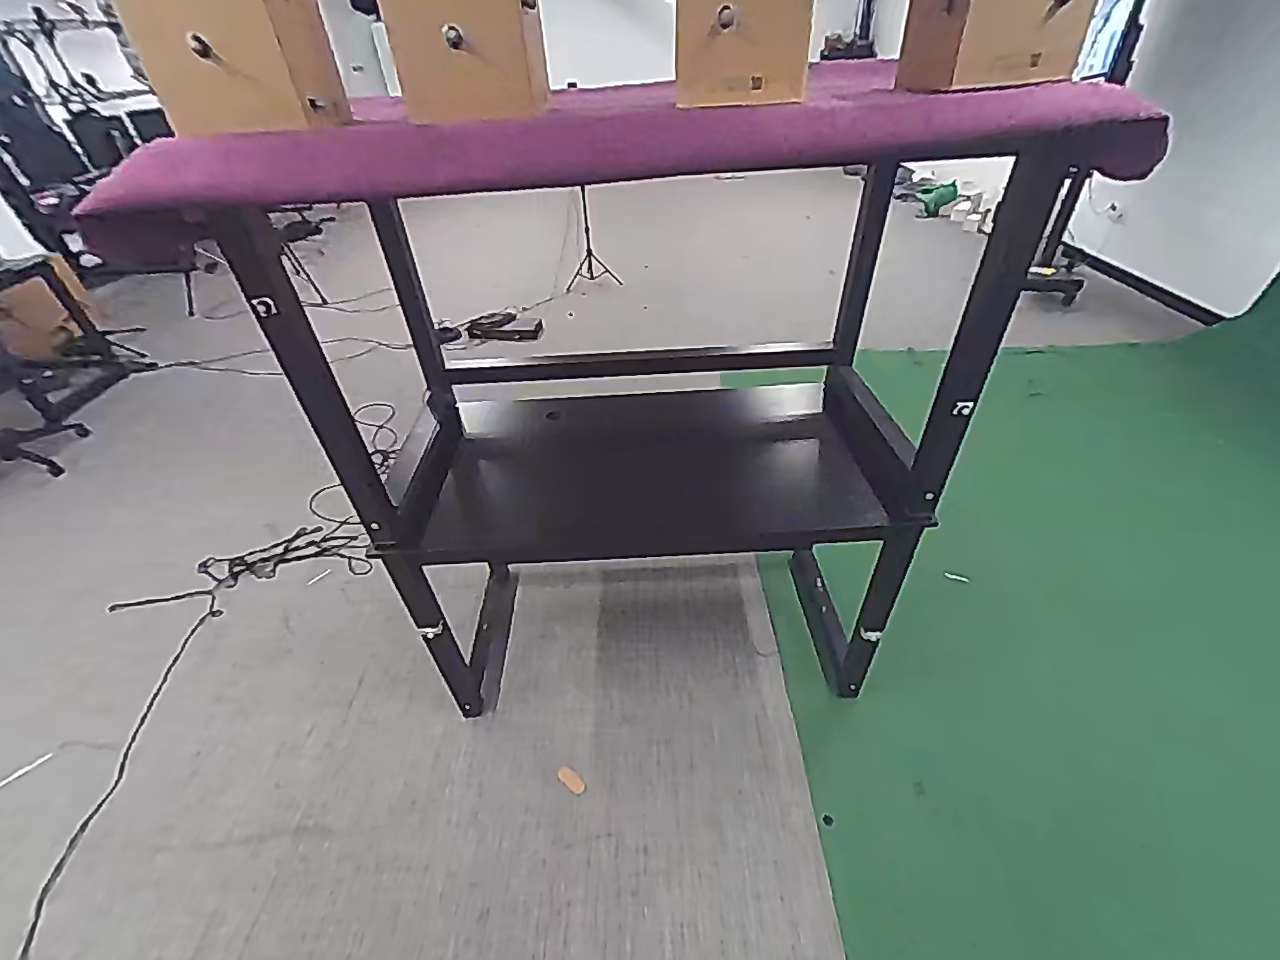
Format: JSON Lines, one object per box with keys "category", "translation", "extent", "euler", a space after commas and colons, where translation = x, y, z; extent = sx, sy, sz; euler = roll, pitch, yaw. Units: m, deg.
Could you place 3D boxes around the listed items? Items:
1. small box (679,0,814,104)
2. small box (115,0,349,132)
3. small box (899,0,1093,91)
{"category": "small box", "translation": [0.137, -0.611, 0.725], "extent": [0.168, 0.176, 0.179], "euler": [1, 37, 5]}
{"category": "small box", "translation": [-0.518, -0.570, 0.709], "extent": [0.179, 0.176, 0.168], "euler": [-5, 39, -2]}
{"category": "small box", "translation": [0.478, -0.634, 0.727], "extent": [0.168, 0.176, 0.179], "euler": [-4, 37, -1]}
